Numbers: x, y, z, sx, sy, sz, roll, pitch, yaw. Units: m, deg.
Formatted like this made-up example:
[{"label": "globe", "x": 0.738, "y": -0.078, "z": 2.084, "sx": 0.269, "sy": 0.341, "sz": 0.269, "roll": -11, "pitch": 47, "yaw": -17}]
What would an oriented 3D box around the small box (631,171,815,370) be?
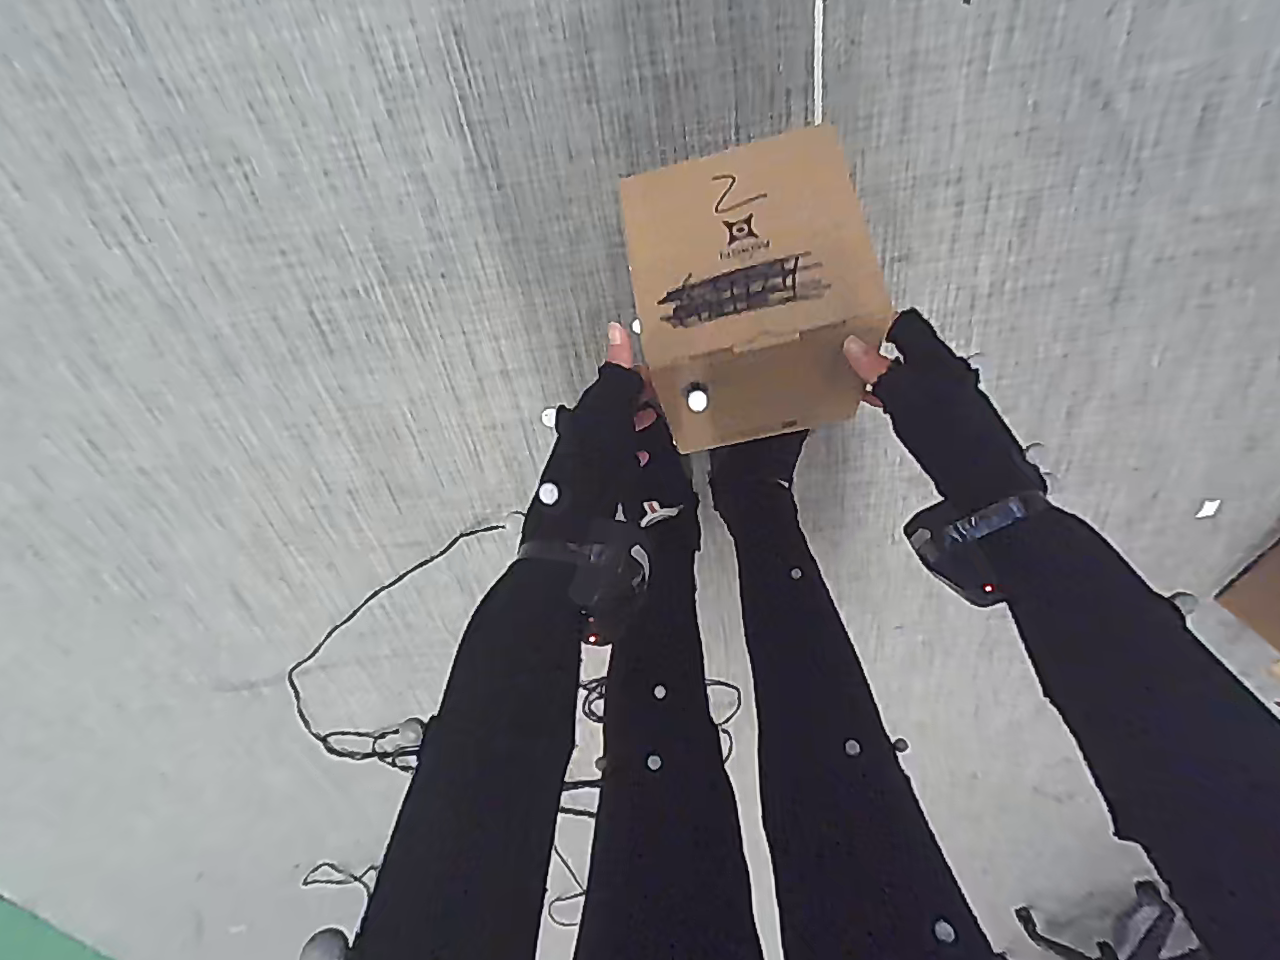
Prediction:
[{"label": "small box", "x": 0.092, "y": -0.249, "z": 0.630, "sx": 0.179, "sy": 0.176, "sz": 0.168, "roll": -10, "pitch": 120, "yaw": 8}]
